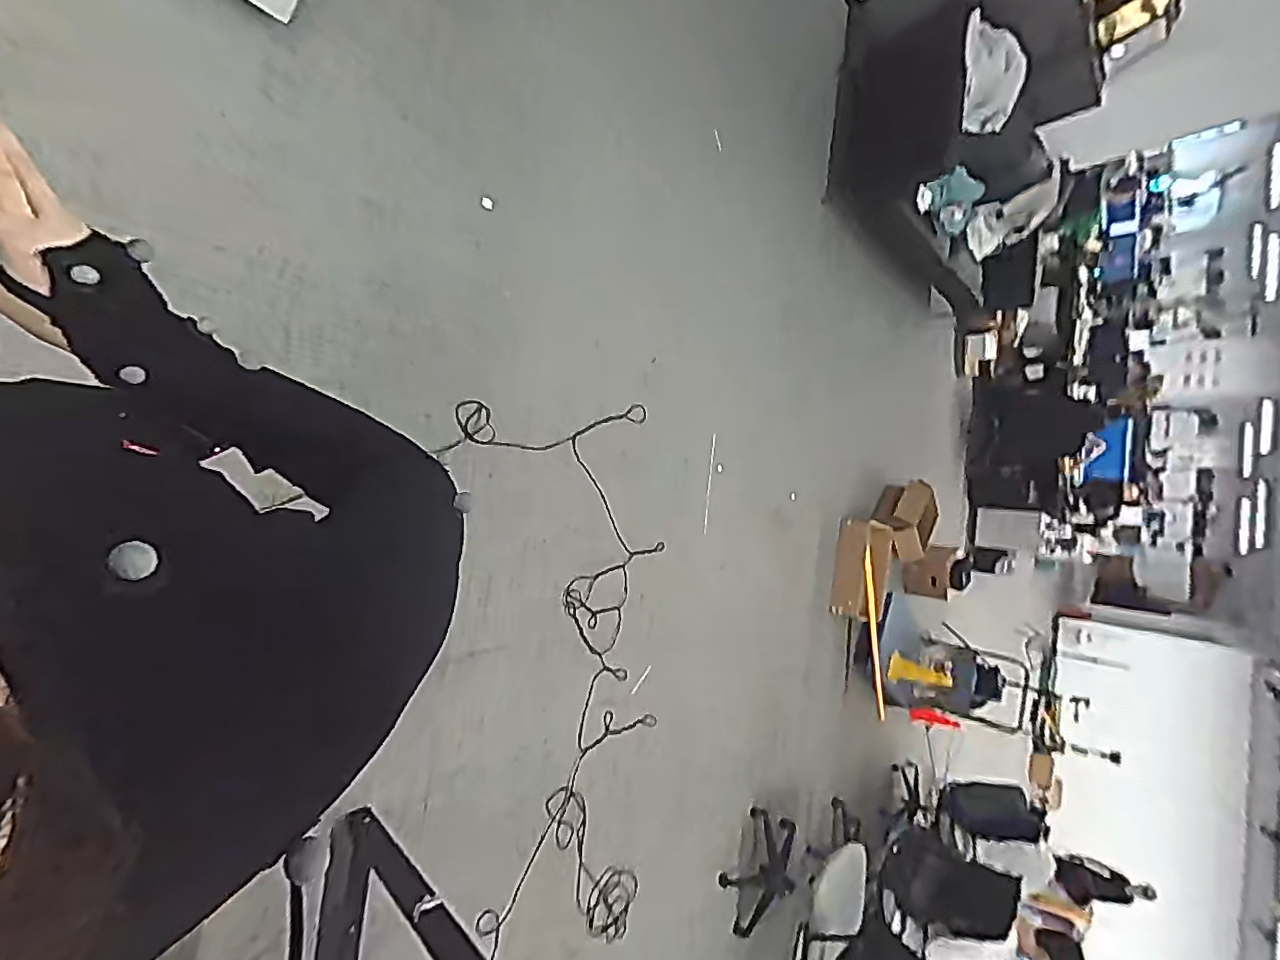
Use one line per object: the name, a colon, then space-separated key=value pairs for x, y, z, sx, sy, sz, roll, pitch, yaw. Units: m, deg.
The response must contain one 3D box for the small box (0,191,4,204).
small box: x=-0.414 y=-0.223 z=0.224 sx=0.179 sy=0.176 sz=0.168 roll=-12 pitch=106 yaw=-47
